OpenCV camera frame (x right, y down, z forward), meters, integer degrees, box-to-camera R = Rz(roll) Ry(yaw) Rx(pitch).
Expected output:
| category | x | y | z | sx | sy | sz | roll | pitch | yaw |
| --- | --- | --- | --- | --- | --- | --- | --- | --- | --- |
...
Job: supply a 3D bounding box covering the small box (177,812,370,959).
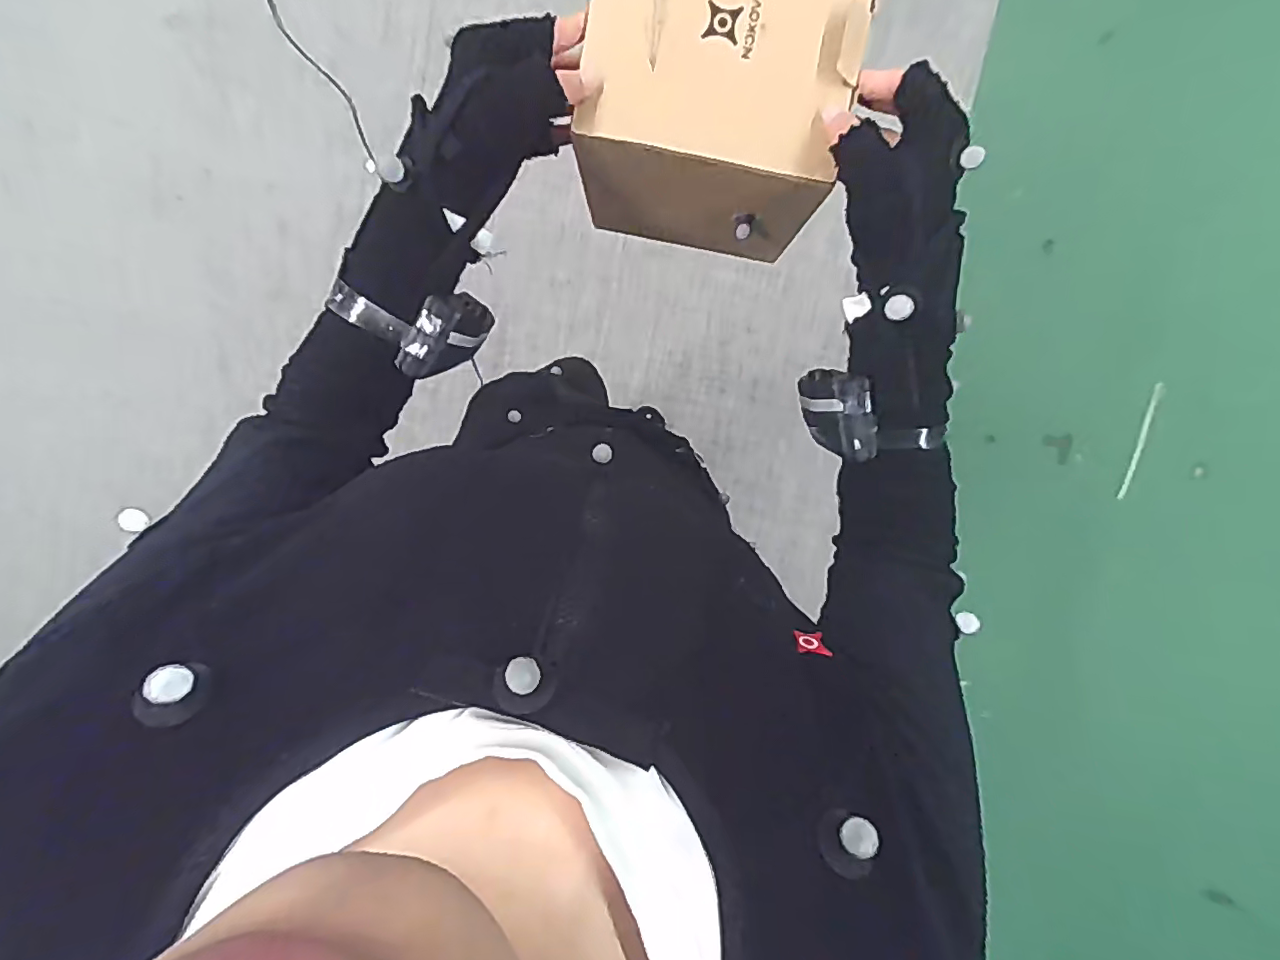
| category | x | y | z | sx | sy | sz | roll | pitch | yaw |
| --- | --- | --- | --- | --- | --- | --- | --- | --- | --- |
| small box | -0.534 | 0.633 | 0.807 | 0.179 | 0.176 | 0.168 | 11 | 92 | -2 |
